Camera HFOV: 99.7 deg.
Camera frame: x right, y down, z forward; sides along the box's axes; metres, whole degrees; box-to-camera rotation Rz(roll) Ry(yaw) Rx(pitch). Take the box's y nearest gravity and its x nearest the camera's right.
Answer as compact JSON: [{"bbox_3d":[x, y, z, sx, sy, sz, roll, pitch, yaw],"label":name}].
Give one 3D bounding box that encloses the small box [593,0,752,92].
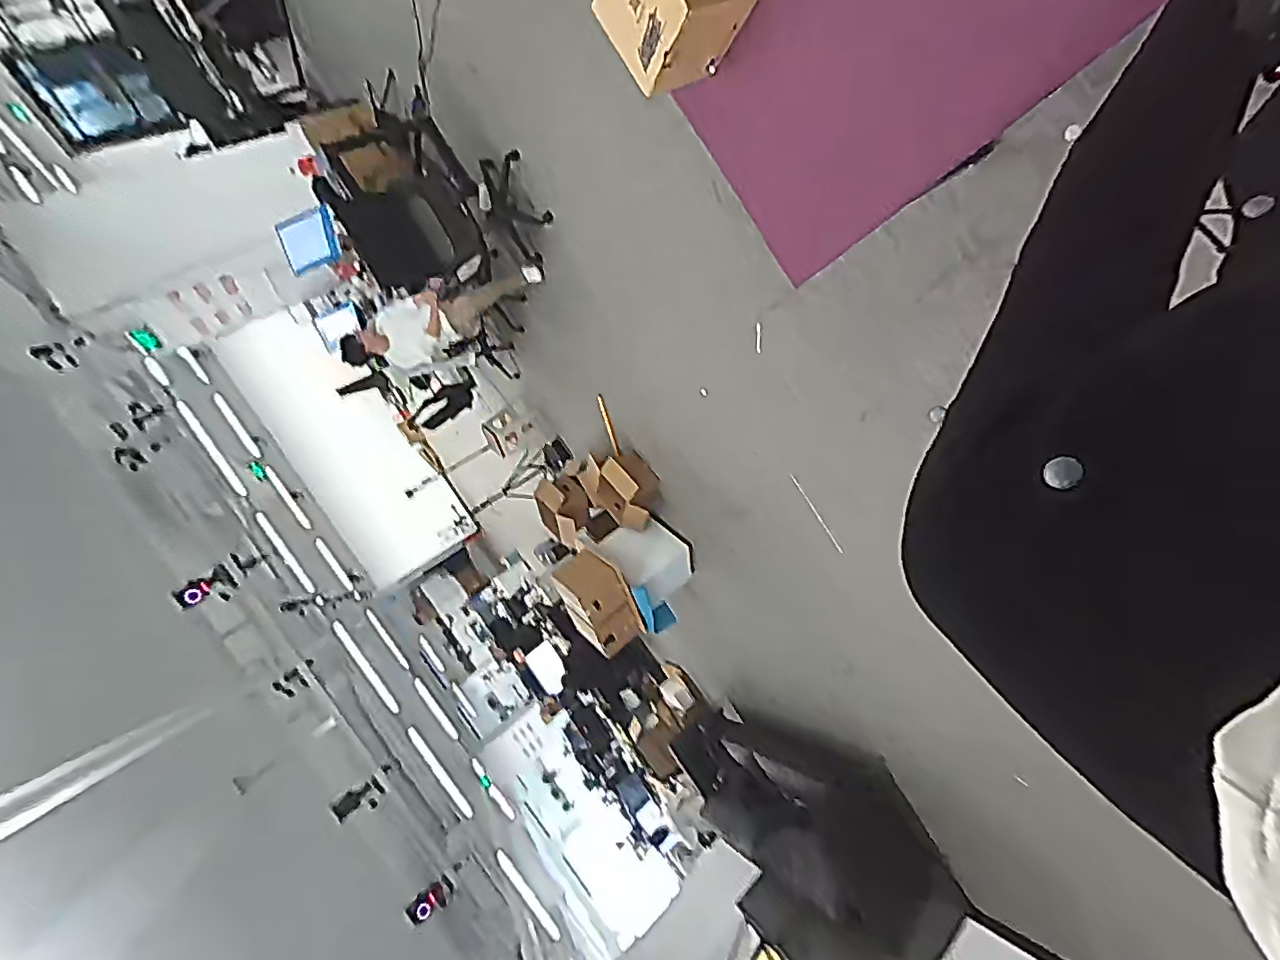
[{"bbox_3d":[0.058,-0.798,0.887,0.179,0.176,0.168,57,156,-6],"label":"small box"}]
